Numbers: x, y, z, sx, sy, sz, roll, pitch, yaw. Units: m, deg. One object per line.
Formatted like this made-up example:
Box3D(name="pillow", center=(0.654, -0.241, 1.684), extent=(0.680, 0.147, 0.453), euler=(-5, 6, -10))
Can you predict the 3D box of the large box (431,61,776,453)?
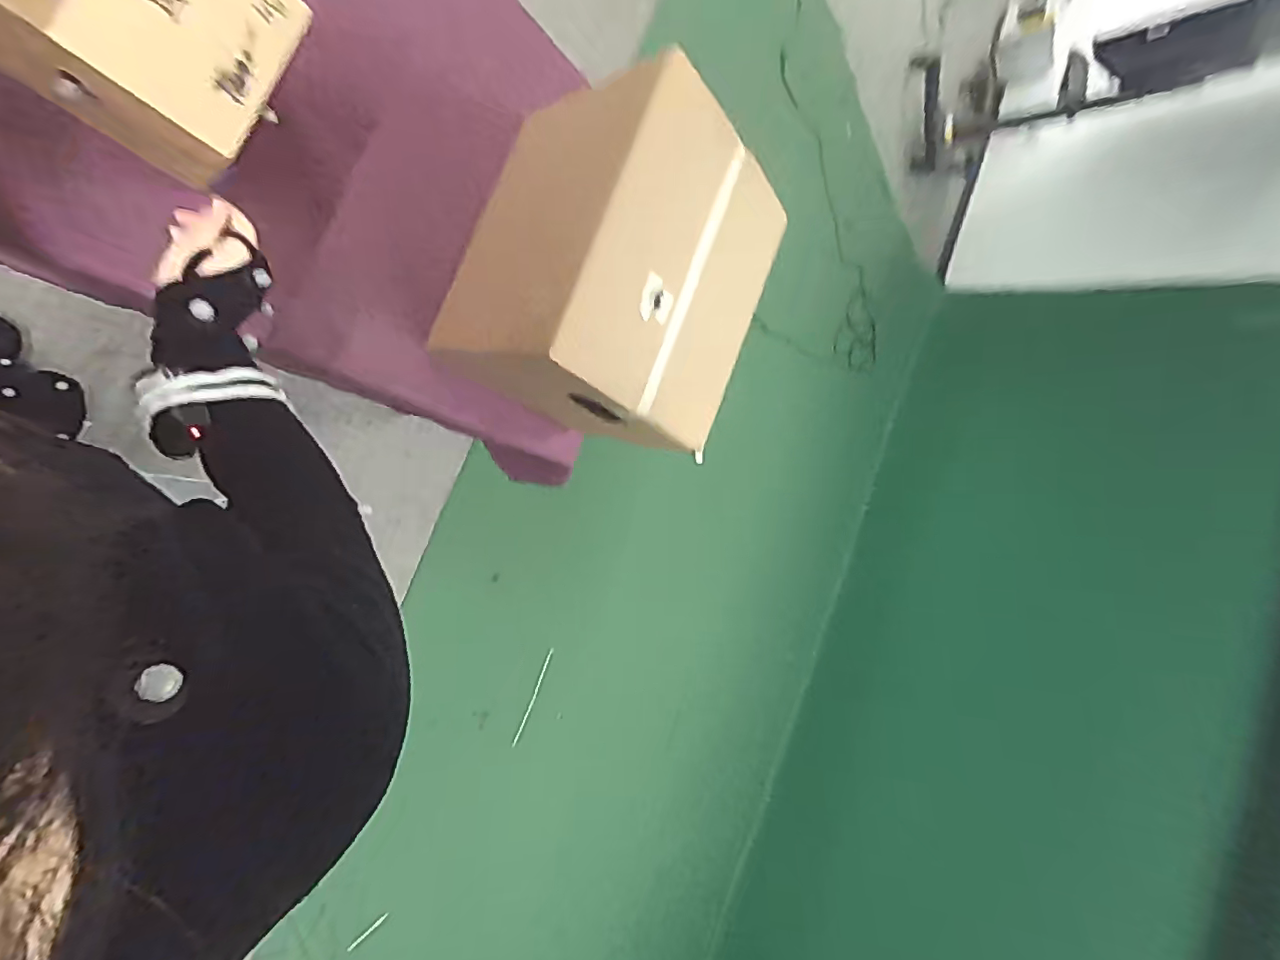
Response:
Box3D(name="large box", center=(-0.048, -0.301, 0.829), extent=(0.320, 0.320, 0.408), euler=(28, 81, -47))
